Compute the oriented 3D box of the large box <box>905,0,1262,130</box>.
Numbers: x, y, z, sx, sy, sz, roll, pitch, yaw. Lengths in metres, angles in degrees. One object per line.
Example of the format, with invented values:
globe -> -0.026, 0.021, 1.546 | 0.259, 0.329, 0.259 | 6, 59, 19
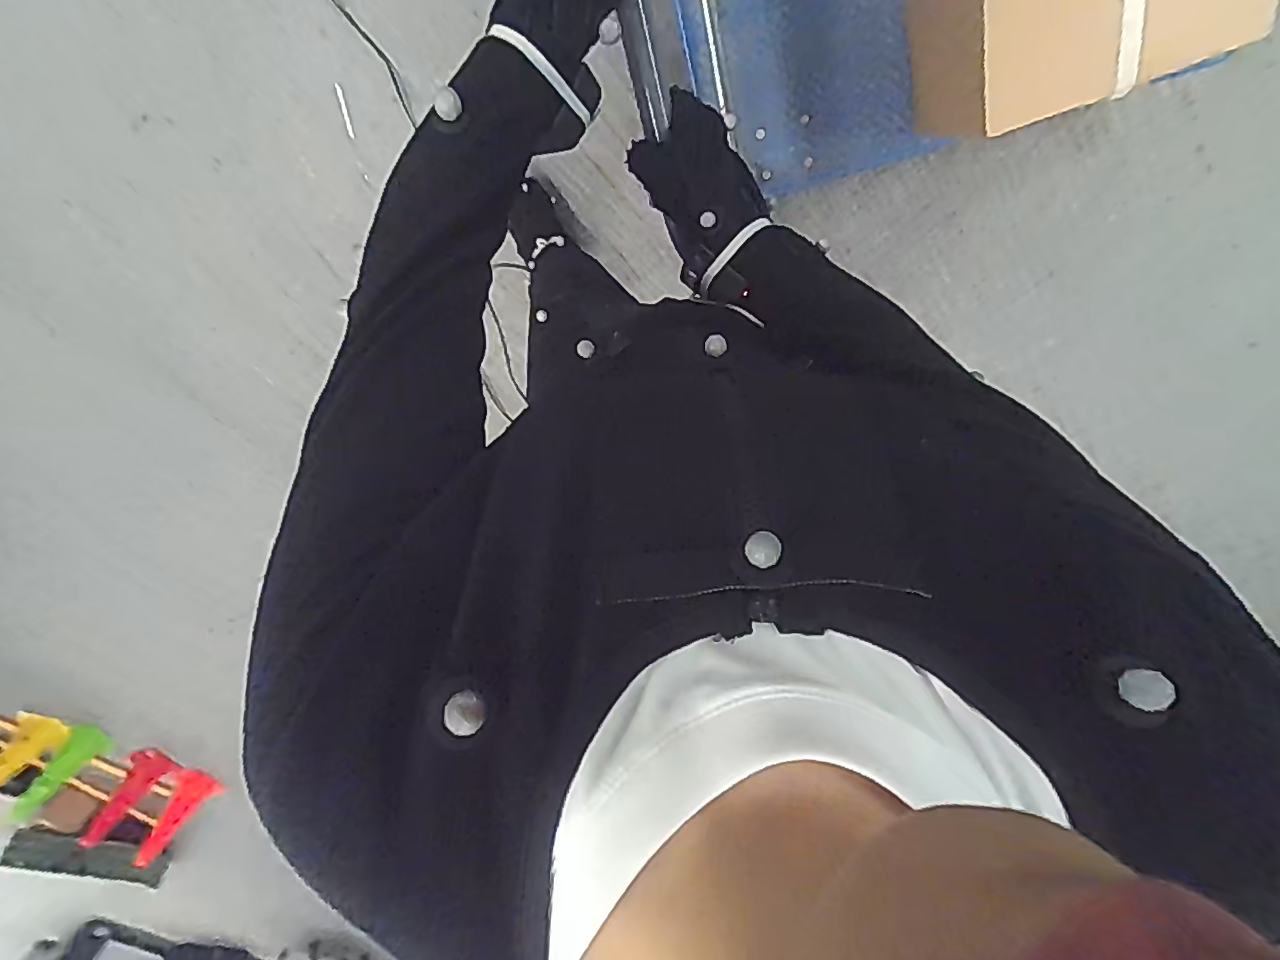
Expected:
large box -> 0.559, -0.759, 0.730 | 0.320, 0.320, 0.408 | -14, 121, 16
